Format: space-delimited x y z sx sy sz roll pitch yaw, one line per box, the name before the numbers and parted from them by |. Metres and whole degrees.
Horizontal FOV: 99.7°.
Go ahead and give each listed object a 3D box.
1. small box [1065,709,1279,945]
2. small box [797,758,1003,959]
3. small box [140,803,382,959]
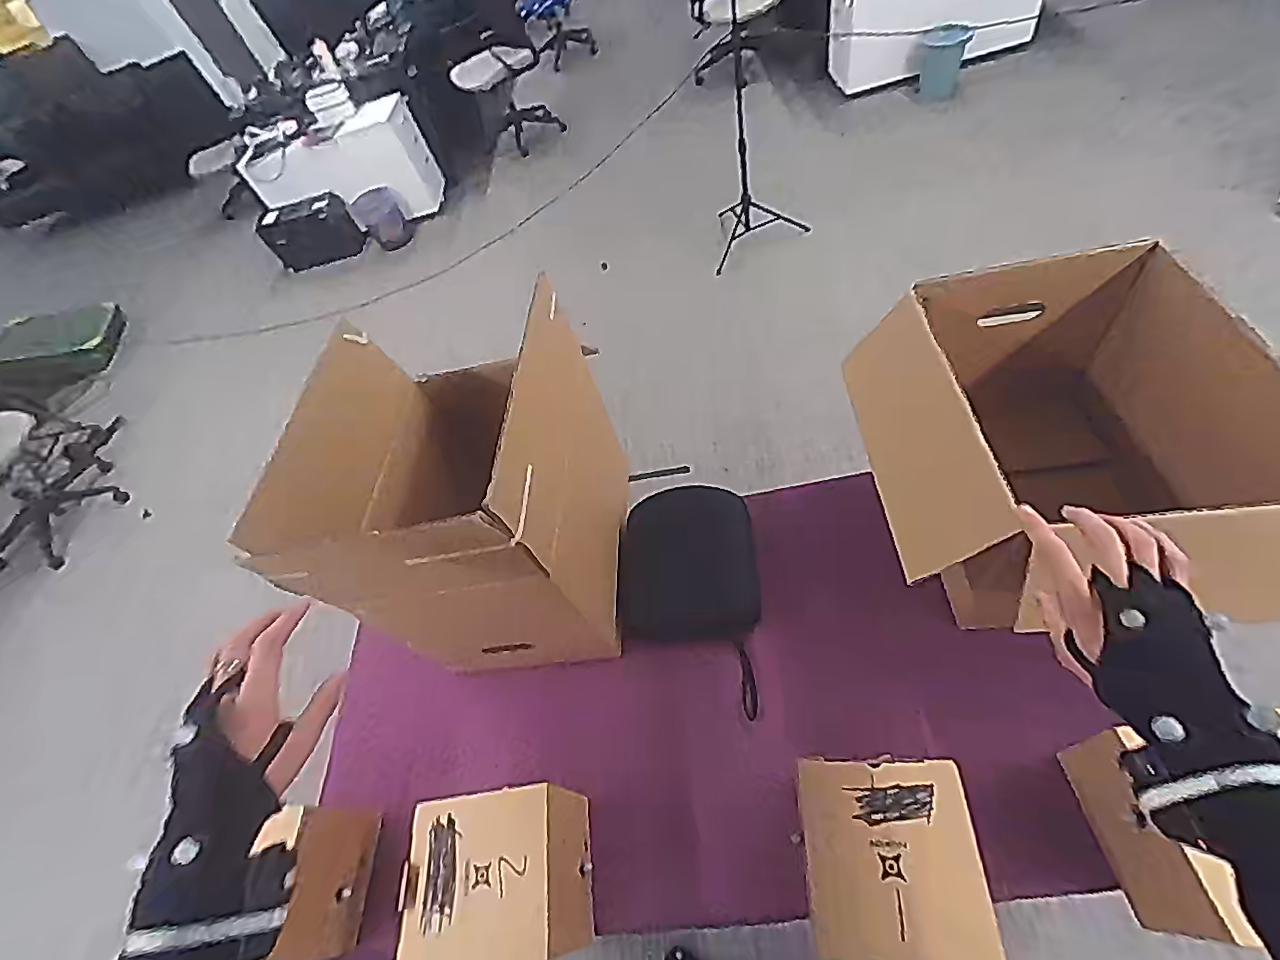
small box | 0.591 0.355 0.557 0.168 0.176 0.179 -12 53 9
small box | 0.268 0.422 0.605 0.168 0.176 0.179 -5 56 13
small box | -0.495 0.547 0.736 0.179 0.176 0.168 -8 54 9
